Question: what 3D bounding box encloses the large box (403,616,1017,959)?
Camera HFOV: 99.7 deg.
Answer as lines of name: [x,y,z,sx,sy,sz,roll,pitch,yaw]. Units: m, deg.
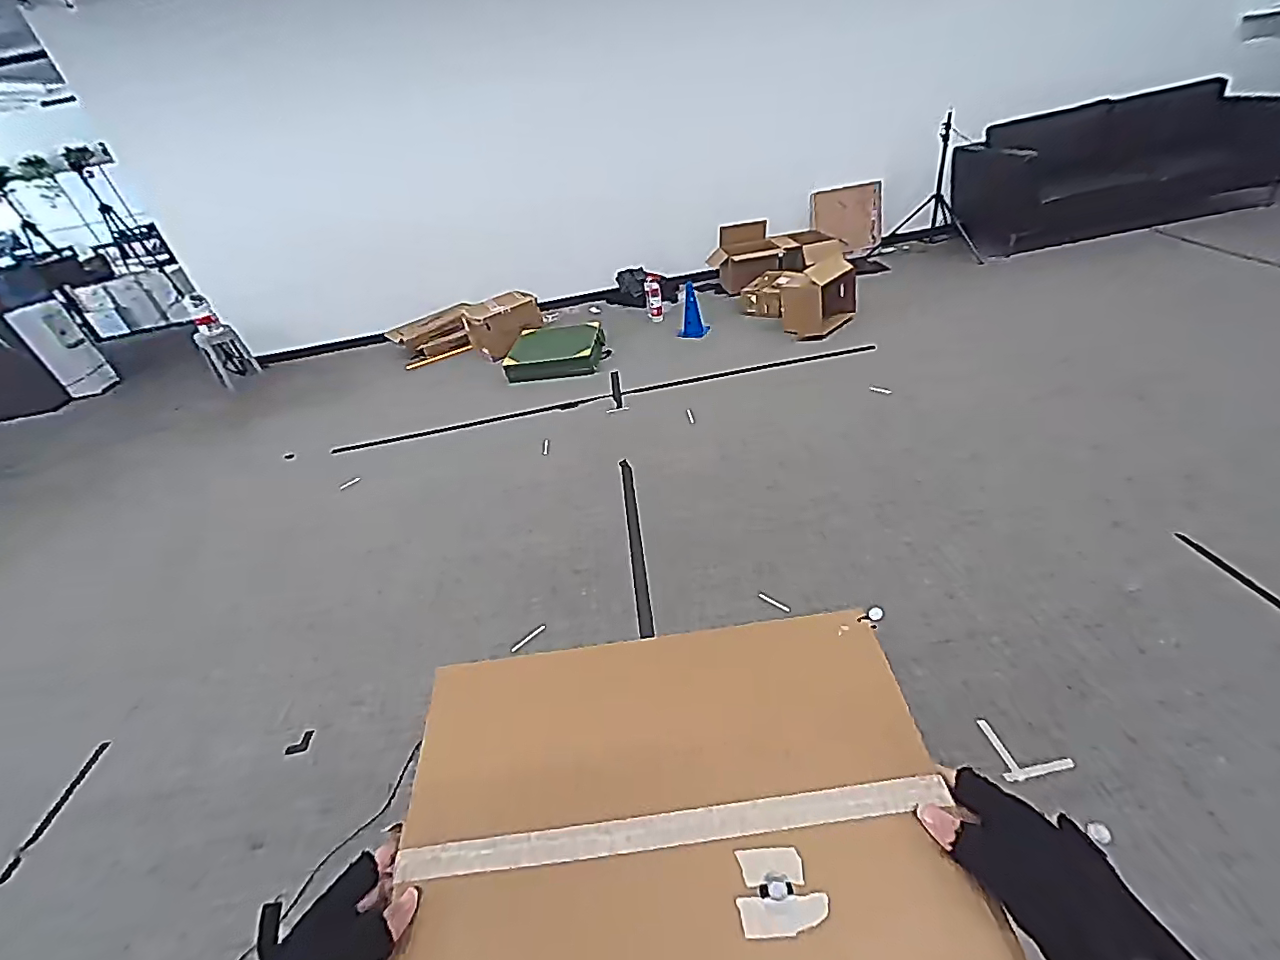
large box: [0.044,0.370,0.507,0.408,0.320,0.320,-8,44,0]
